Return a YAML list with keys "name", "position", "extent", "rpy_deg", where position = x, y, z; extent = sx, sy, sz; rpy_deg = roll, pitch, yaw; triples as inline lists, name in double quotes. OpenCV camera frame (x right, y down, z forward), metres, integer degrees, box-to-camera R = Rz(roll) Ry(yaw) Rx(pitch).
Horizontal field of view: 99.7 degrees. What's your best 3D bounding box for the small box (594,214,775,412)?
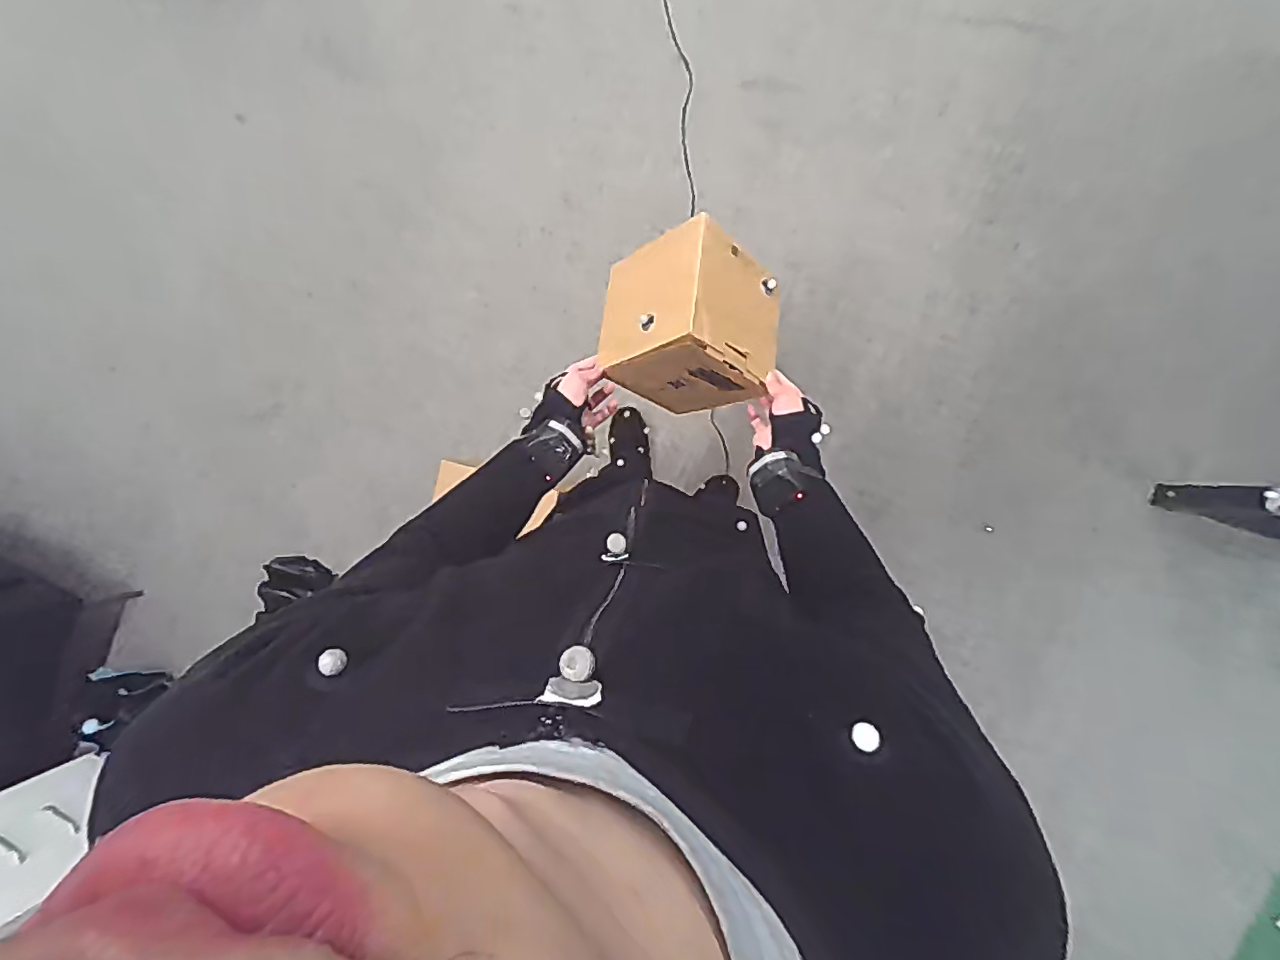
- name: "small box"
  position: [0.063, -0.210, 0.713]
  extent: [0.179, 0.168, 0.176]
  rpy_deg: [-7, 69, 45]
